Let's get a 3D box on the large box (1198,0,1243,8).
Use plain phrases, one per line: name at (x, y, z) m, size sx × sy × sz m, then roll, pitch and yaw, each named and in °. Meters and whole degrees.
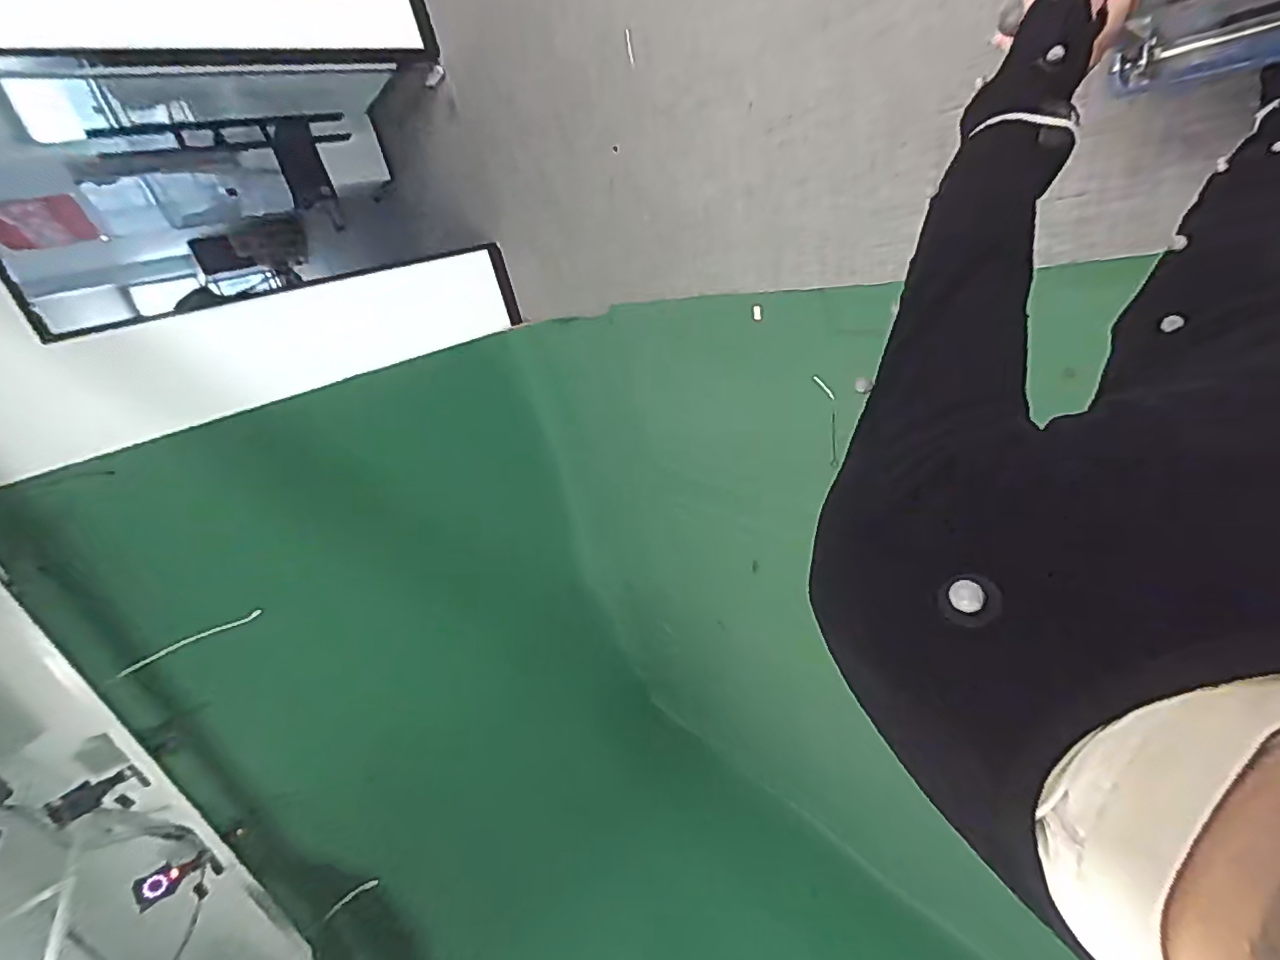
large box at (0.867, -0.848, 0.600) m, size 0.320 × 0.320 × 0.408 m, roll 19°, pitch 127°, yaw 47°
